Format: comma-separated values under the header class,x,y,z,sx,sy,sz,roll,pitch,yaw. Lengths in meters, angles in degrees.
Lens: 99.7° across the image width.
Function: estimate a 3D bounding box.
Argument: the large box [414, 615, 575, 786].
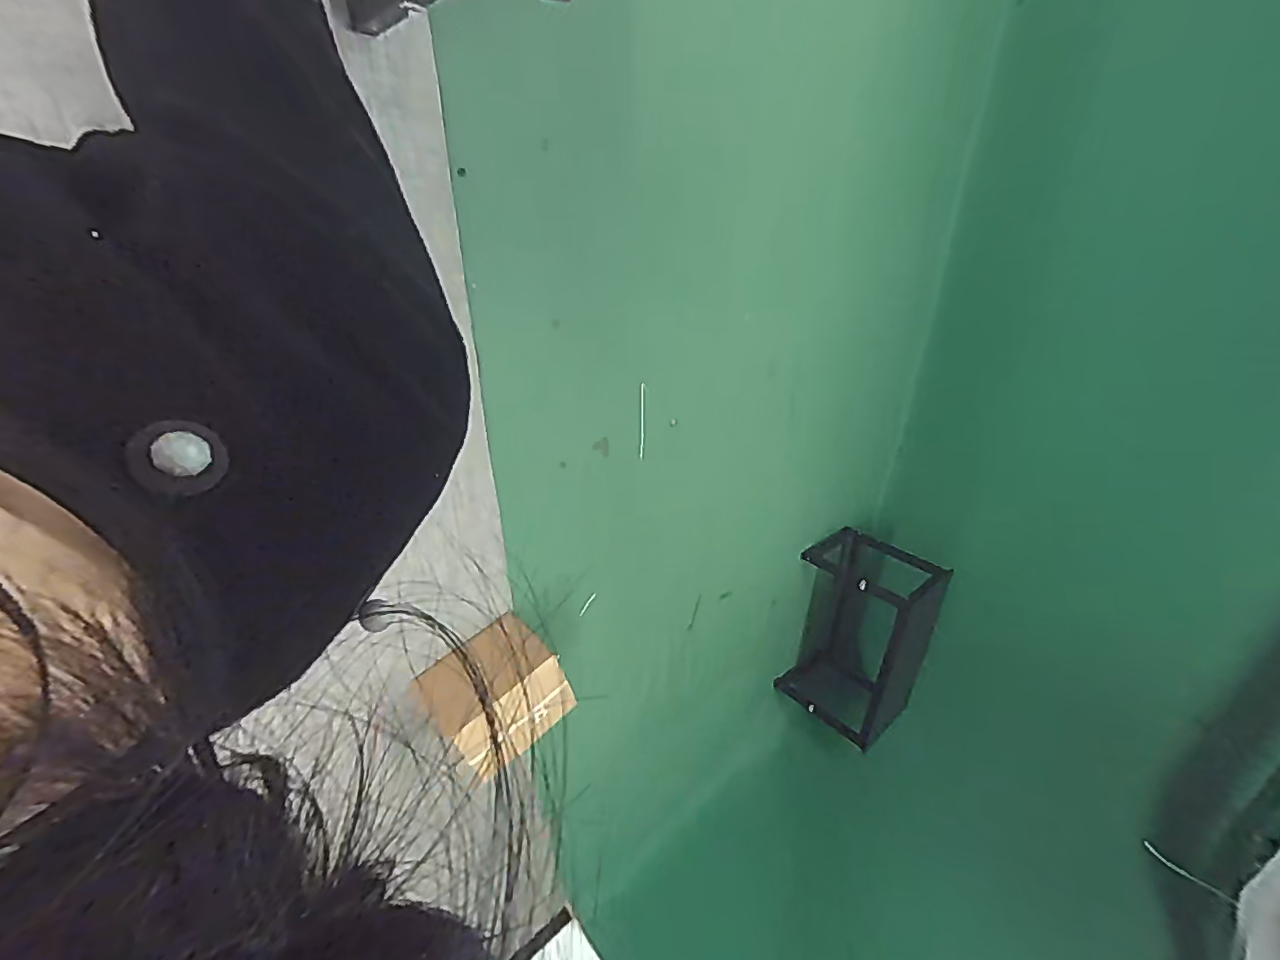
class,x,y,z,sx,sy,sz,roll,pitch,yaw
large box,-0.512,0.772,1.936,0.408,0.320,0.320,-36,132,-28
